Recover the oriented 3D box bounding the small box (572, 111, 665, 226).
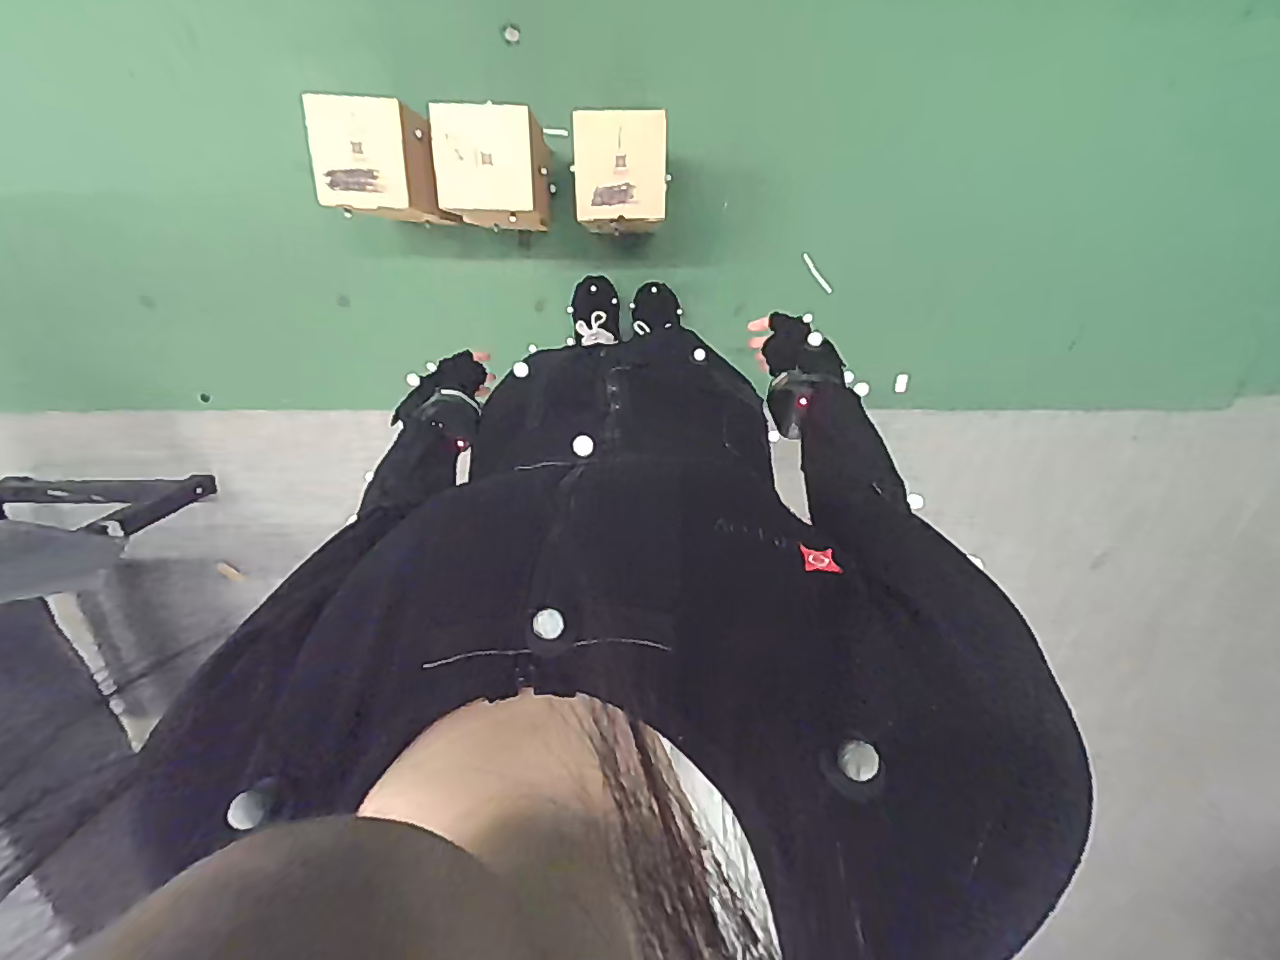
[{"bbox_3d":[-0.038,-0.595,1.052,0.168,0.176,0.179,-1,111,-1],"label":"small box"}]

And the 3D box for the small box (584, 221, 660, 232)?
[{"bbox_3d":[-0.040,-0.655,1.205,0.168,0.176,0.179,0,112,-1],"label":"small box"}]

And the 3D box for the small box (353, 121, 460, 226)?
[{"bbox_3d":[-0.506,-0.668,1.198,0.168,0.176,0.179,4,111,-2],"label":"small box"}]
